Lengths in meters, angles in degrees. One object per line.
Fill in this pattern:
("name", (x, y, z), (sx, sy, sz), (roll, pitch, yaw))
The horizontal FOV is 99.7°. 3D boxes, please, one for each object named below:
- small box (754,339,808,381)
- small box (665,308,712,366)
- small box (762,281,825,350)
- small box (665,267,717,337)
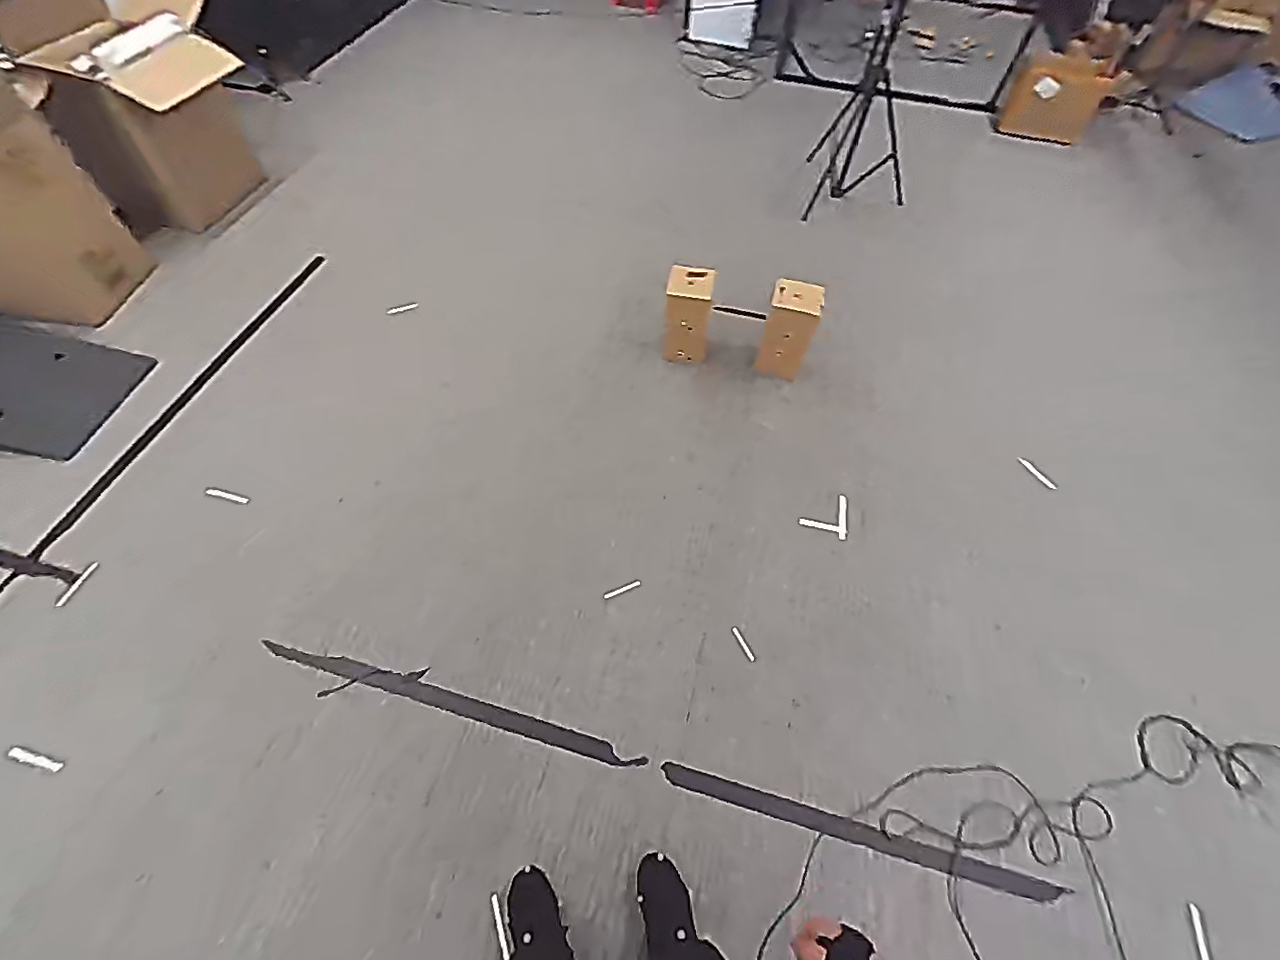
("small box", (0.569, -0.524, 2.172), (0.179, 0.176, 0.168), (15, 58, 6))
("small box", (0.195, -0.592, 2.202), (0.168, 0.176, 0.179), (8, 57, 4))
("small box", (0.575, -0.613, 2.035), (0.179, 0.176, 0.168), (16, 58, 7))
("small box", (0.191, -0.678, 2.062), (0.168, 0.176, 0.179), (9, 58, 5))
